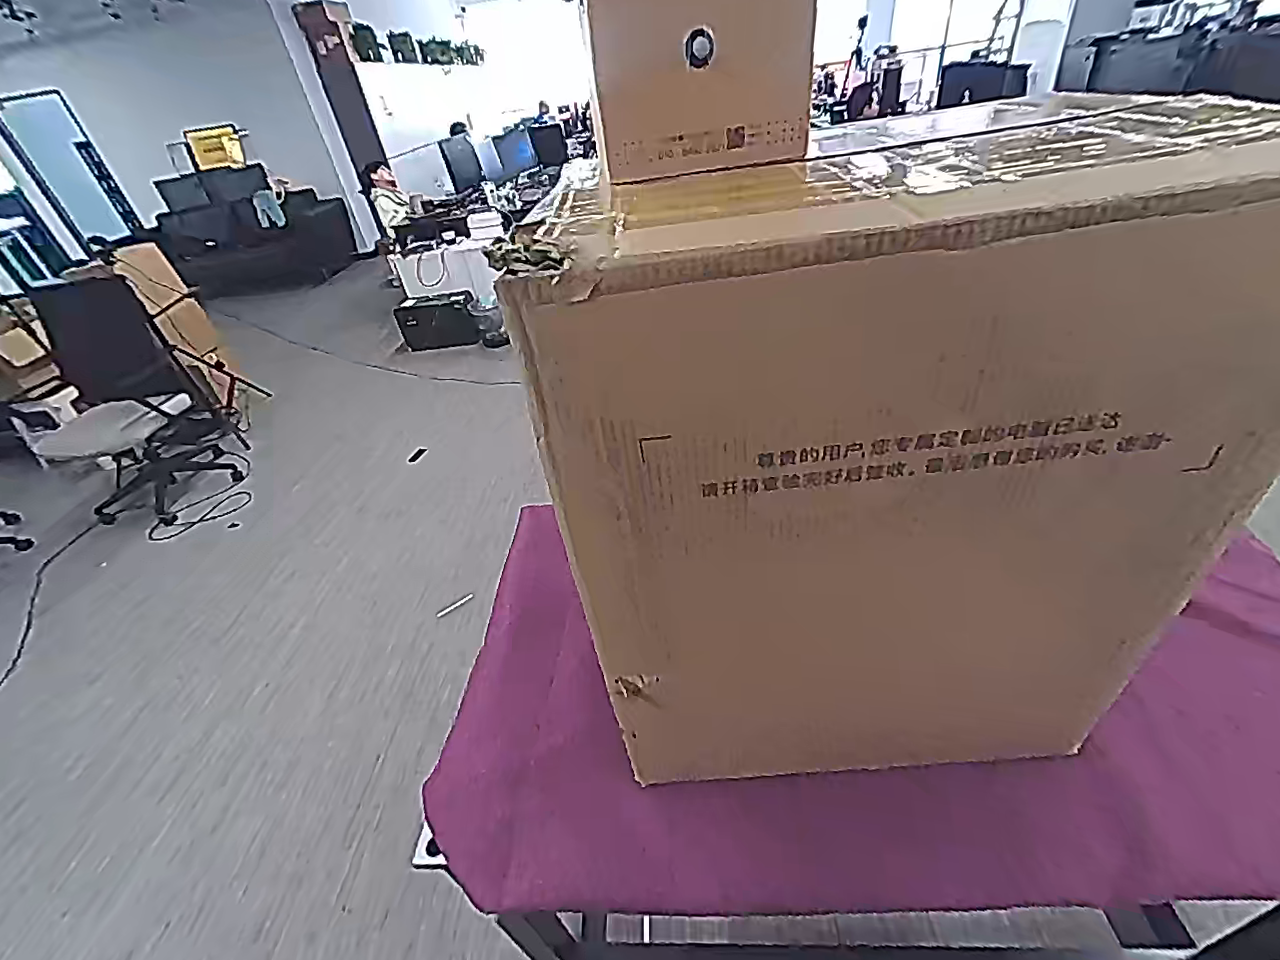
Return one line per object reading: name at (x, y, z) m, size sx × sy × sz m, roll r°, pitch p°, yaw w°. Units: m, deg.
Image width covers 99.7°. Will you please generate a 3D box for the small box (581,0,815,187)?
small box at (0.042, -0.358, 0.458) m, size 0.168 × 0.176 × 0.179 m, roll -8°, pitch 37°, yaw -2°
